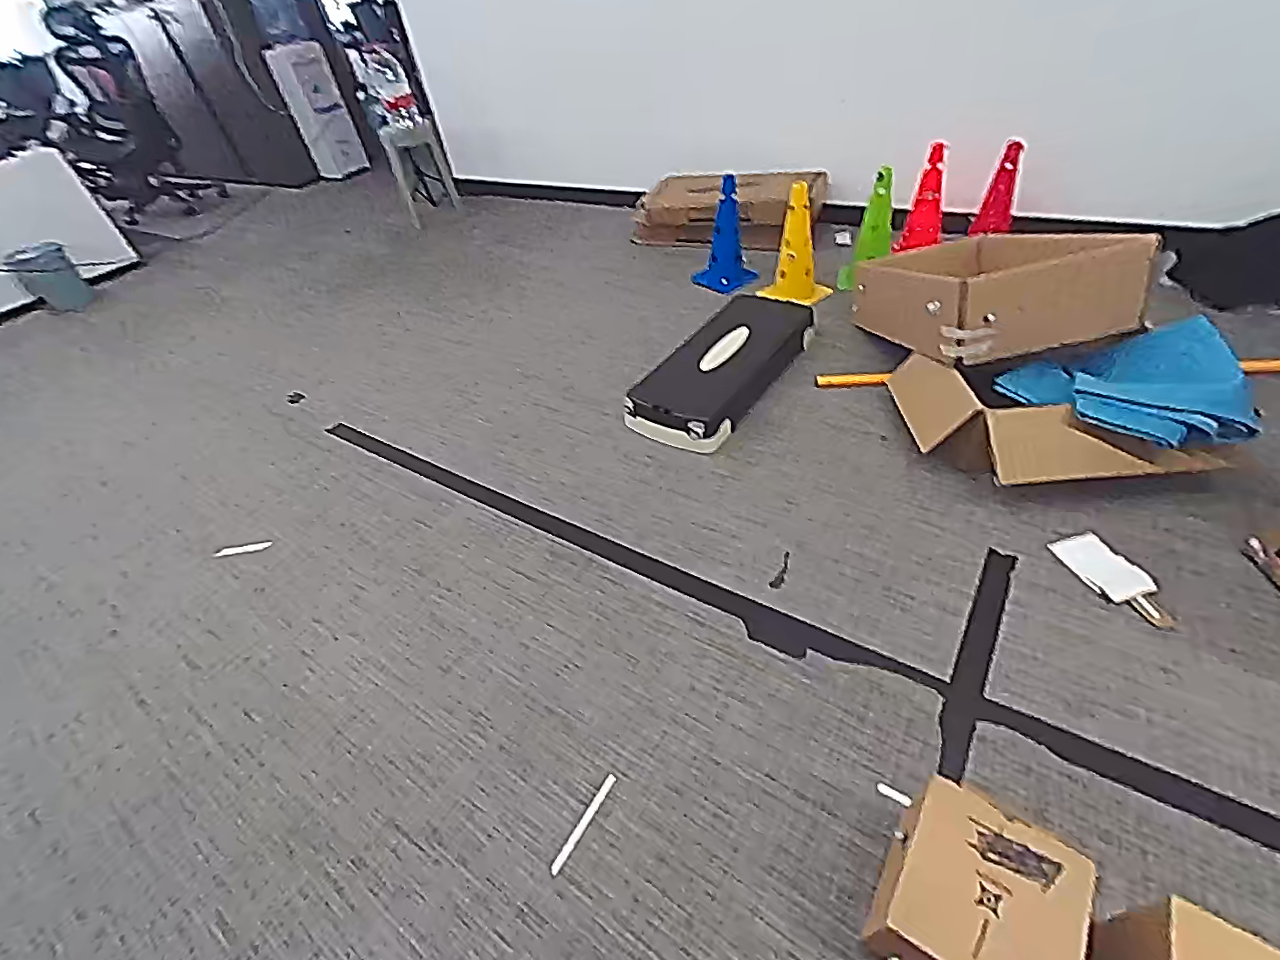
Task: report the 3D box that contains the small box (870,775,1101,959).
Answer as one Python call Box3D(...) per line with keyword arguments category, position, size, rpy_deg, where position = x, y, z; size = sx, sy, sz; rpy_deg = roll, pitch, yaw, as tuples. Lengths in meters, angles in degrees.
Box3D(category="small box", position=(0.381, 0.488, 0.619), size=(0.168, 0.176, 0.179), rpy_deg=(22, 53, 29))

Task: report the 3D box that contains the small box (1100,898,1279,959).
Box3D(category="small box", position=(0.573, 0.557, 0.518), size=(0.168, 0.176, 0.179), rpy_deg=(21, 52, 28))
